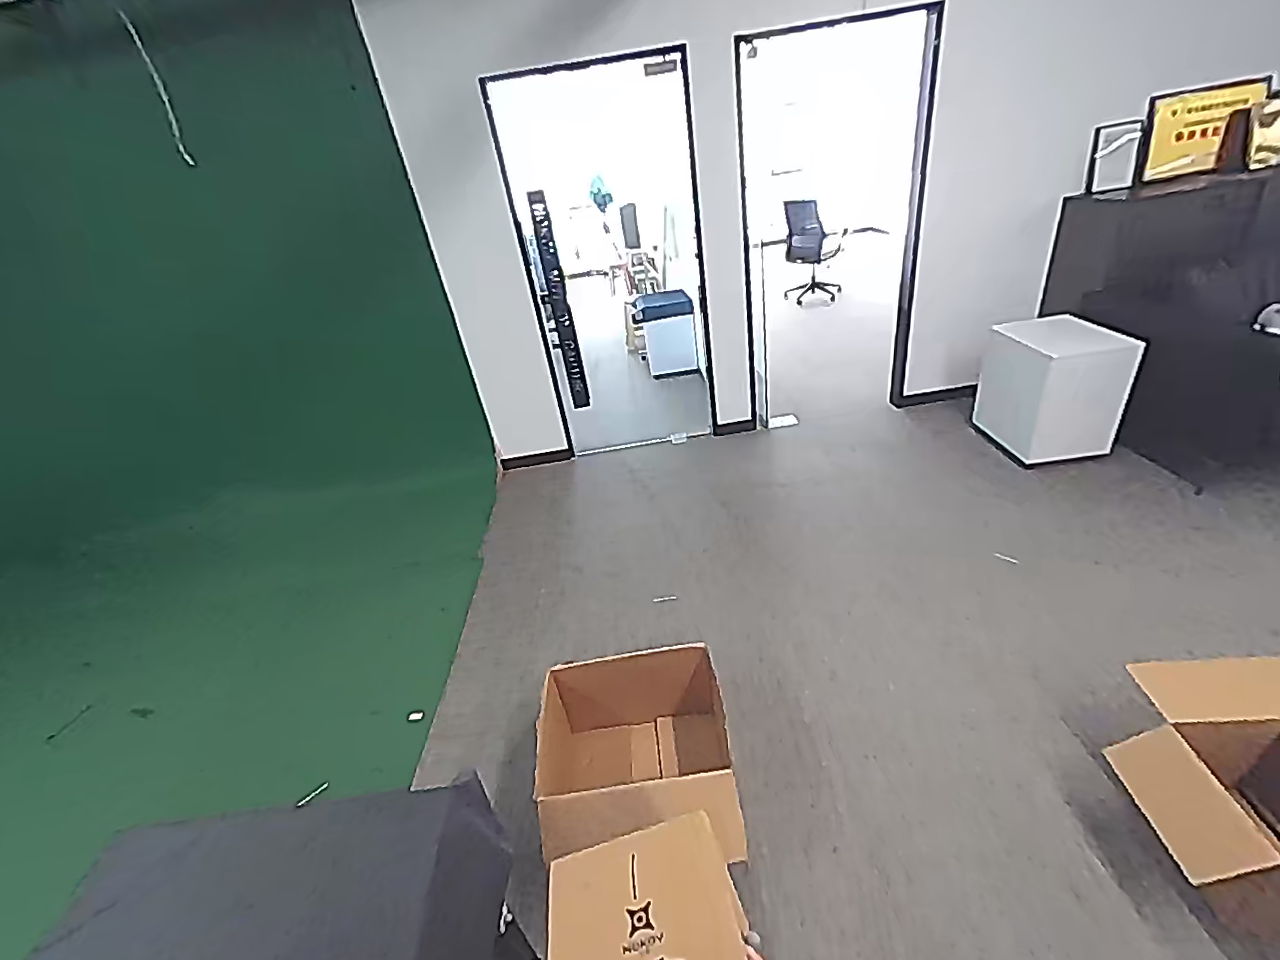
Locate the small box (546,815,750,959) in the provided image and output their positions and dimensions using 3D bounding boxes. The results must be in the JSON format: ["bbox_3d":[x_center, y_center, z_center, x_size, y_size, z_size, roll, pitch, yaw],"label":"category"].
[{"bbox_3d":[0.019,0.459,0.490,0.168,0.176,0.179,-15,19,-1],"label":"small box"}]
